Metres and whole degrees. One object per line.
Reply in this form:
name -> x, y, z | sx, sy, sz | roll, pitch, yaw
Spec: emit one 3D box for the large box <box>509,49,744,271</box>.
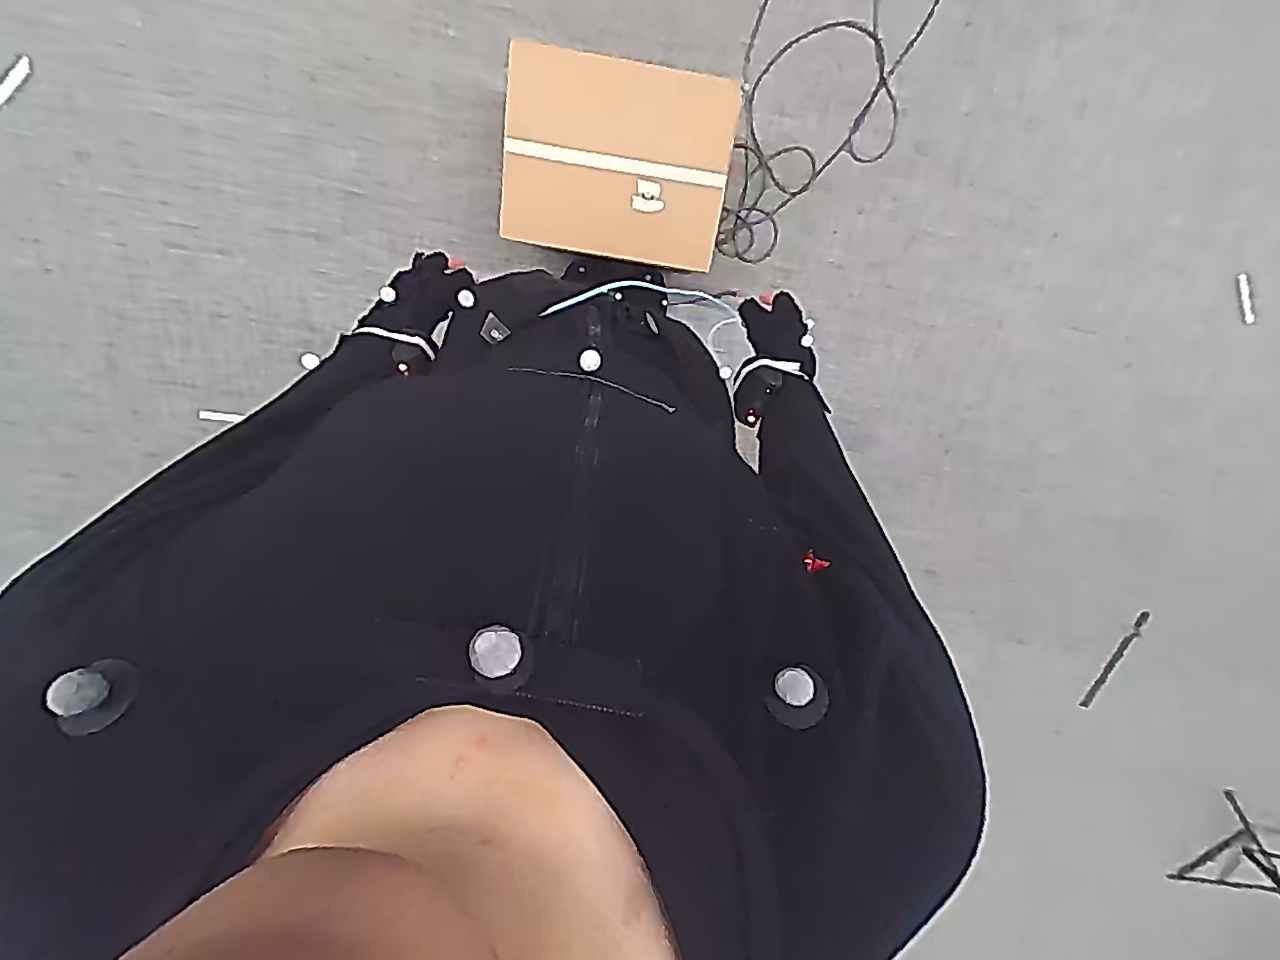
large box -> -0.037, -0.625, 1.124 | 0.408, 0.320, 0.320 | 8, 112, -3
